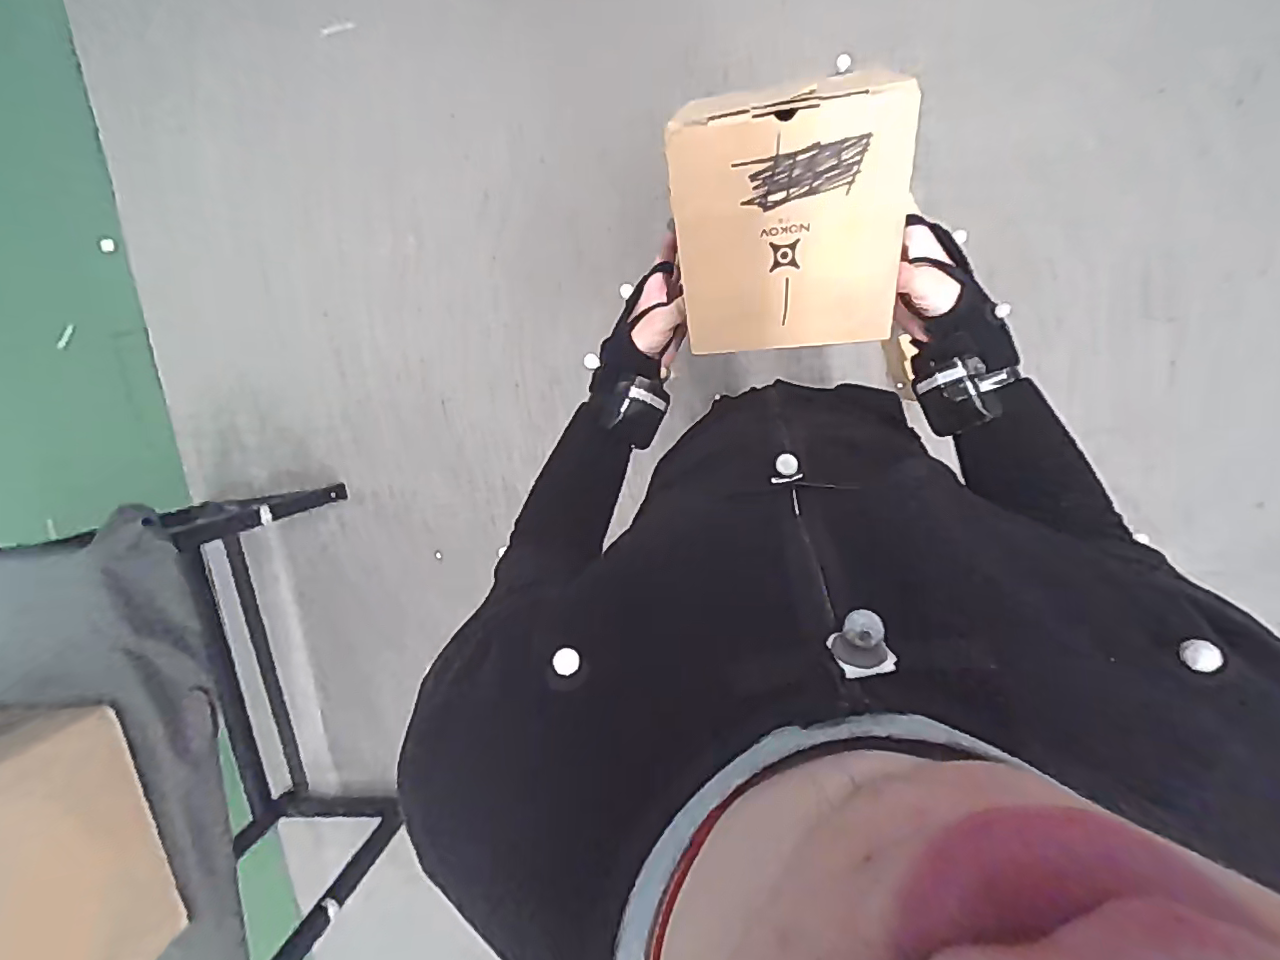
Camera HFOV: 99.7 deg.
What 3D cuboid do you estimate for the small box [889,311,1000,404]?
[{"bbox_3d":[0.724,-0.292,1.311,0.179,0.176,0.168,-20,98,13],"label":"small box"}]
